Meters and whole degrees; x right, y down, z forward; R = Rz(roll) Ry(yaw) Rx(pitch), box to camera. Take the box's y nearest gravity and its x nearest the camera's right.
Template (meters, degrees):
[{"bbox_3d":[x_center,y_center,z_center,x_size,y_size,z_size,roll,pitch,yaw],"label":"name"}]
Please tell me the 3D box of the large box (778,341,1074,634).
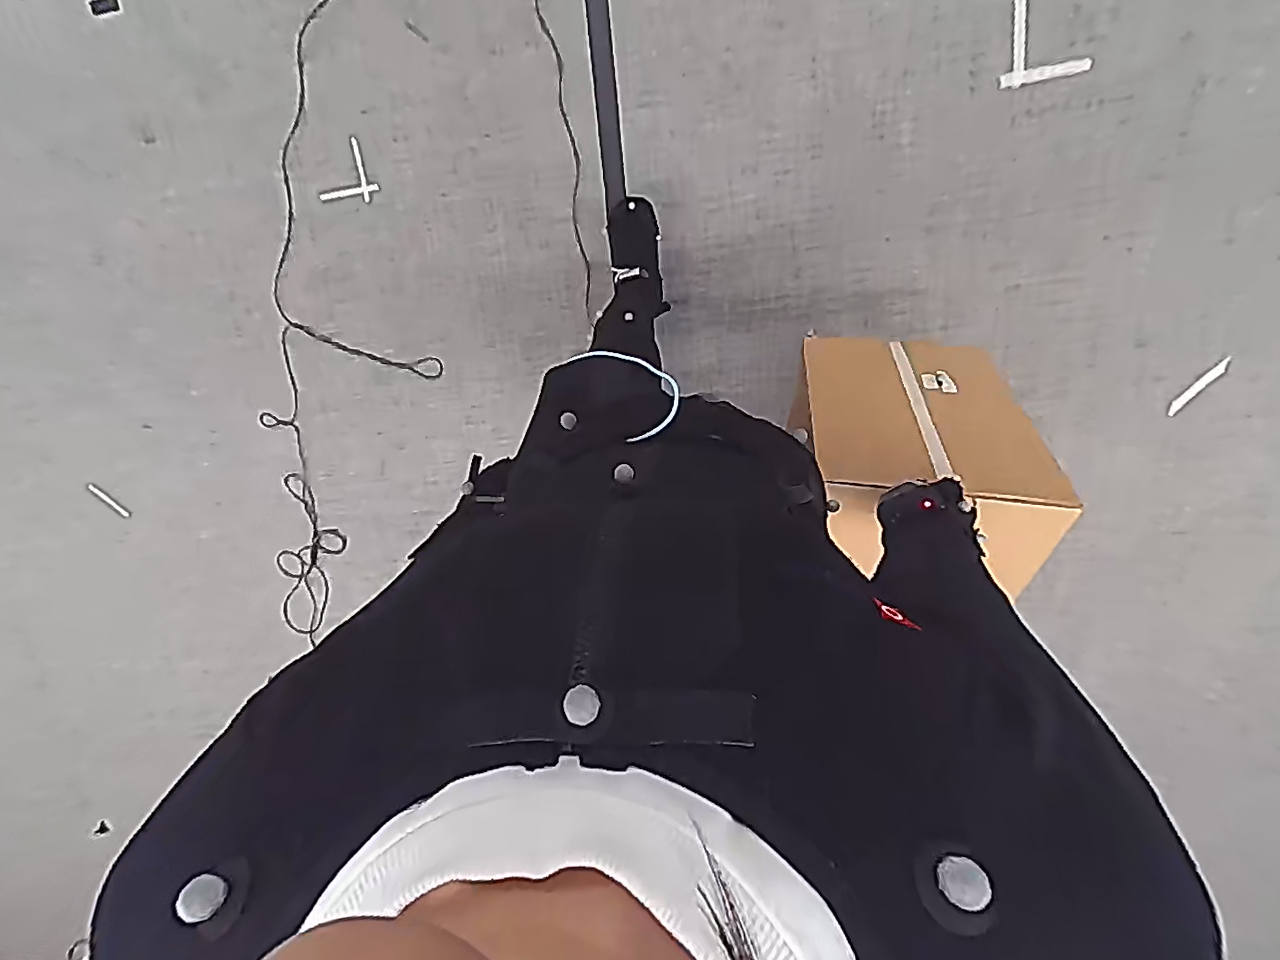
[{"bbox_3d":[0.419,0.000,0.927,0.320,0.408,0.320,6,131,7],"label":"large box"}]
